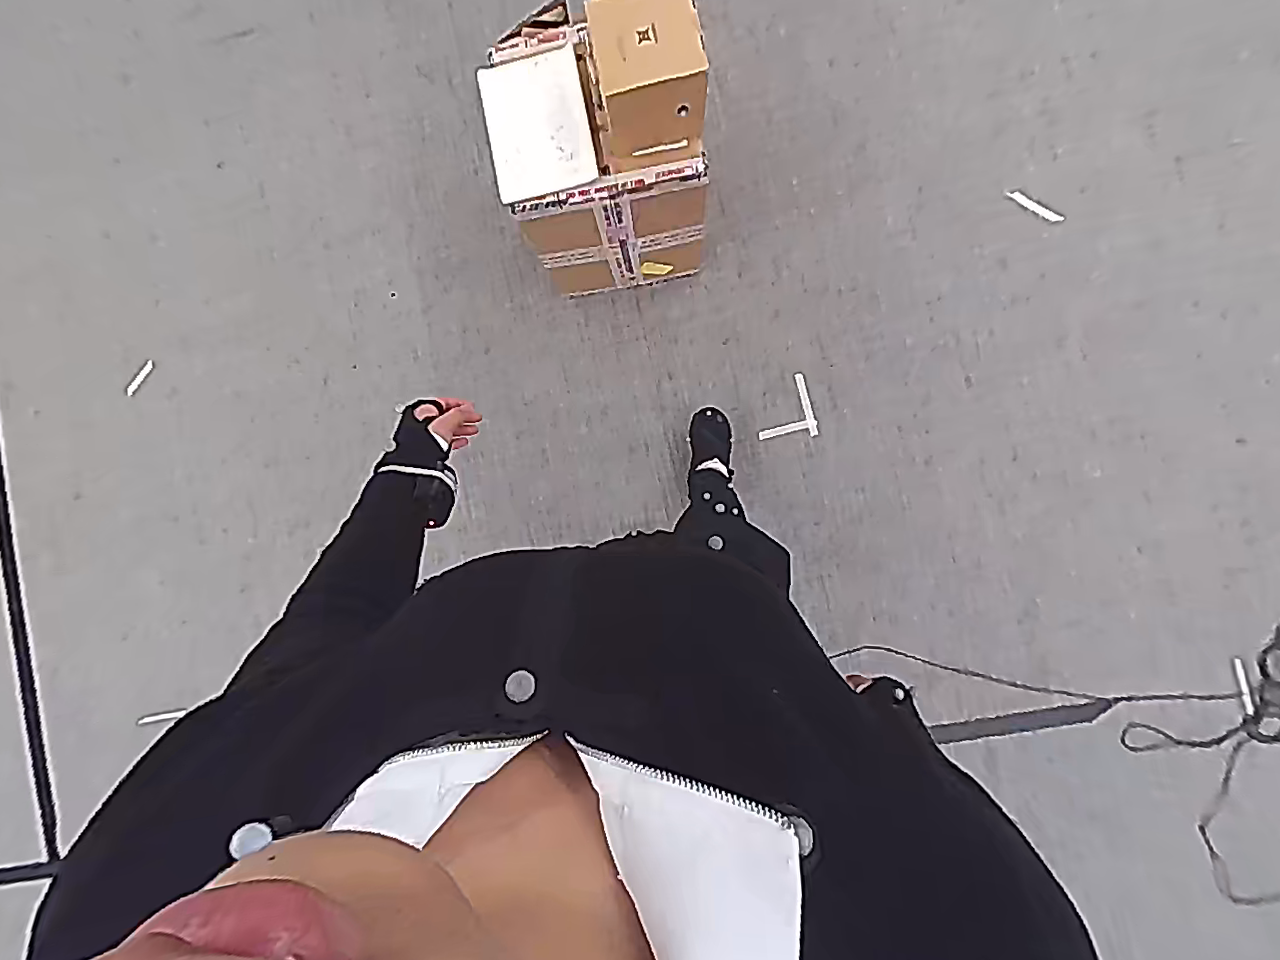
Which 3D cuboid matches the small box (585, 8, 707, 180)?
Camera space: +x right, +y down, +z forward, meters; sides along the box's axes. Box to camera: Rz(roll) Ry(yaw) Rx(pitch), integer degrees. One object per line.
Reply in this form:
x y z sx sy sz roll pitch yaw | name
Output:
0.012 -0.677 0.968 0.179 0.176 0.168 -13 88 3 | small box
